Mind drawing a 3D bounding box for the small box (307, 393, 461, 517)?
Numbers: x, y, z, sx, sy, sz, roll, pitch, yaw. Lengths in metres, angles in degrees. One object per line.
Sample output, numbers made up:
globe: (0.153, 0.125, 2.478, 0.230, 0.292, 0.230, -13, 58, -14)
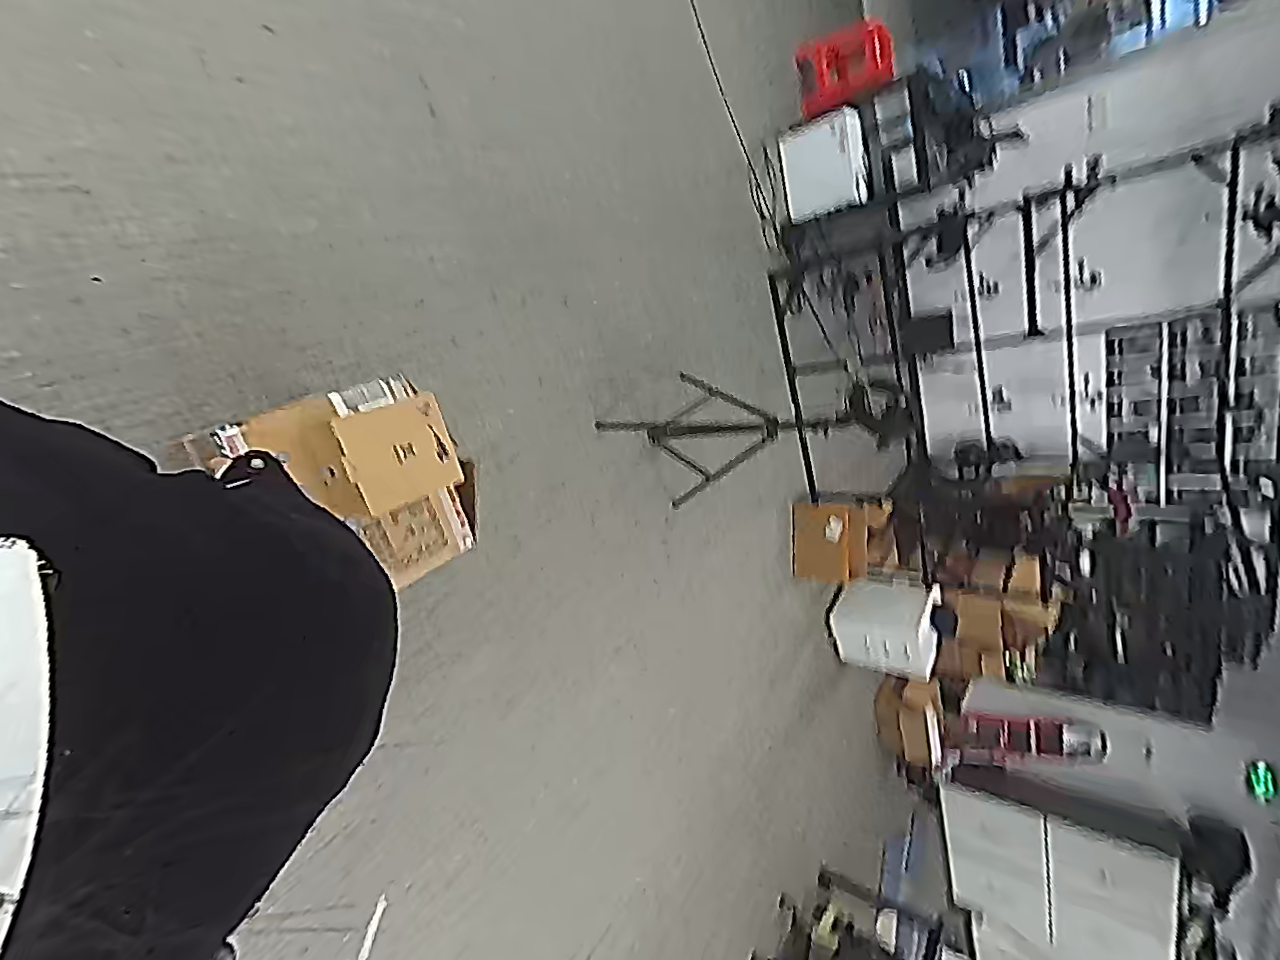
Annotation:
small box: (-0.451, -0.043, 0.942, 0.179, 0.176, 0.168, -28, 109, -42)
